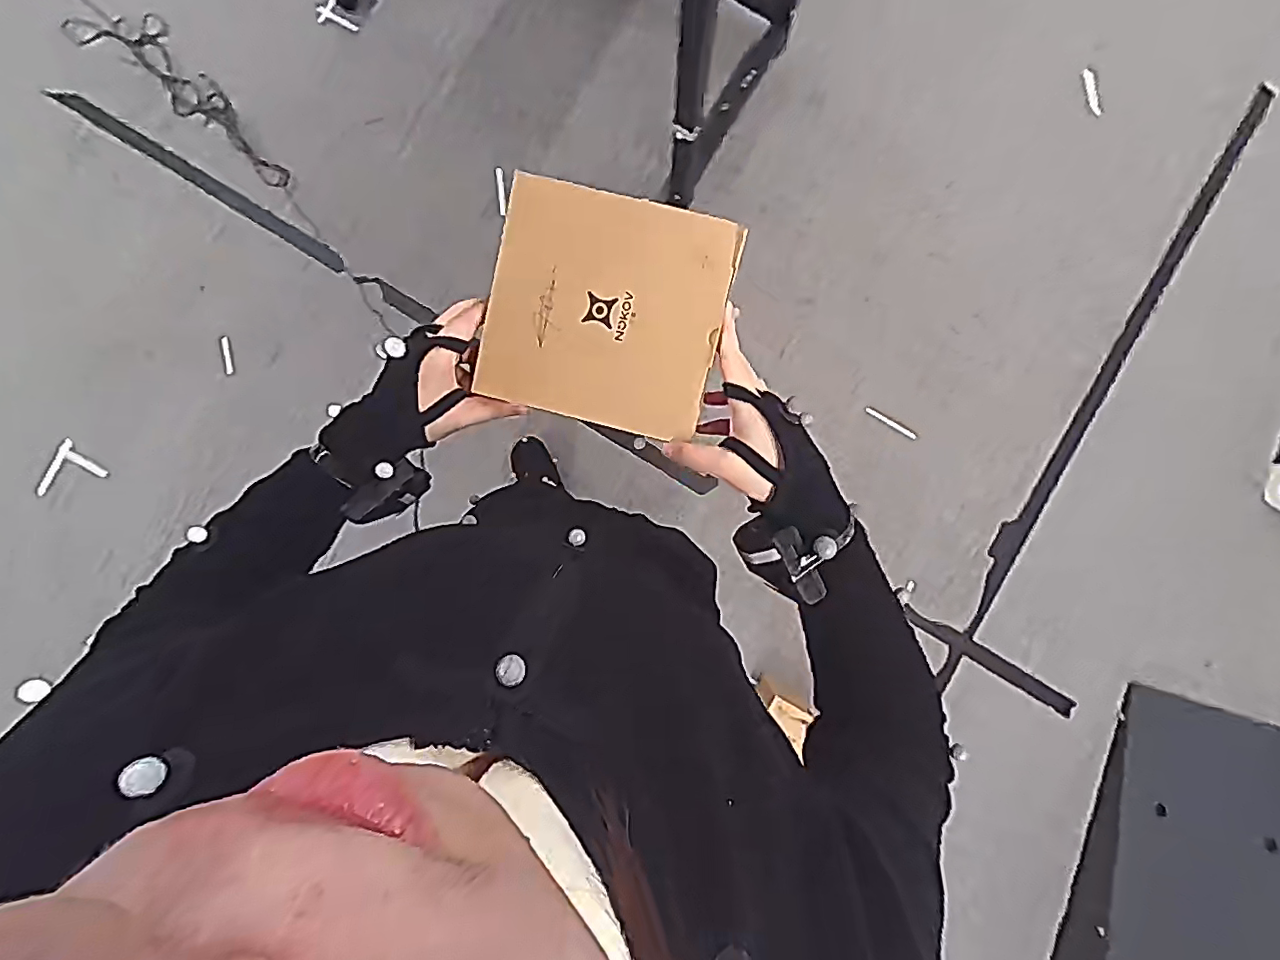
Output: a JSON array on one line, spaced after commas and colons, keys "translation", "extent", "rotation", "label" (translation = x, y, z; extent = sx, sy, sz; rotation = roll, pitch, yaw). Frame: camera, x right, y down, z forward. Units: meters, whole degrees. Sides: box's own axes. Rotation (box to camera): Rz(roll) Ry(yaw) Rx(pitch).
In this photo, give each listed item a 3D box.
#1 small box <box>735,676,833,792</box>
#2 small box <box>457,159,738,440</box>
[{"translation": [0.357, 0.638, 1.379], "extent": [0.168, 0.176, 0.179], "rotation": [30, 90, 2], "label": "small box"}, {"translation": [-0.029, -0.138, 0.468], "extent": [0.179, 0.176, 0.168], "rotation": [14, 97, 2], "label": "small box"}]
